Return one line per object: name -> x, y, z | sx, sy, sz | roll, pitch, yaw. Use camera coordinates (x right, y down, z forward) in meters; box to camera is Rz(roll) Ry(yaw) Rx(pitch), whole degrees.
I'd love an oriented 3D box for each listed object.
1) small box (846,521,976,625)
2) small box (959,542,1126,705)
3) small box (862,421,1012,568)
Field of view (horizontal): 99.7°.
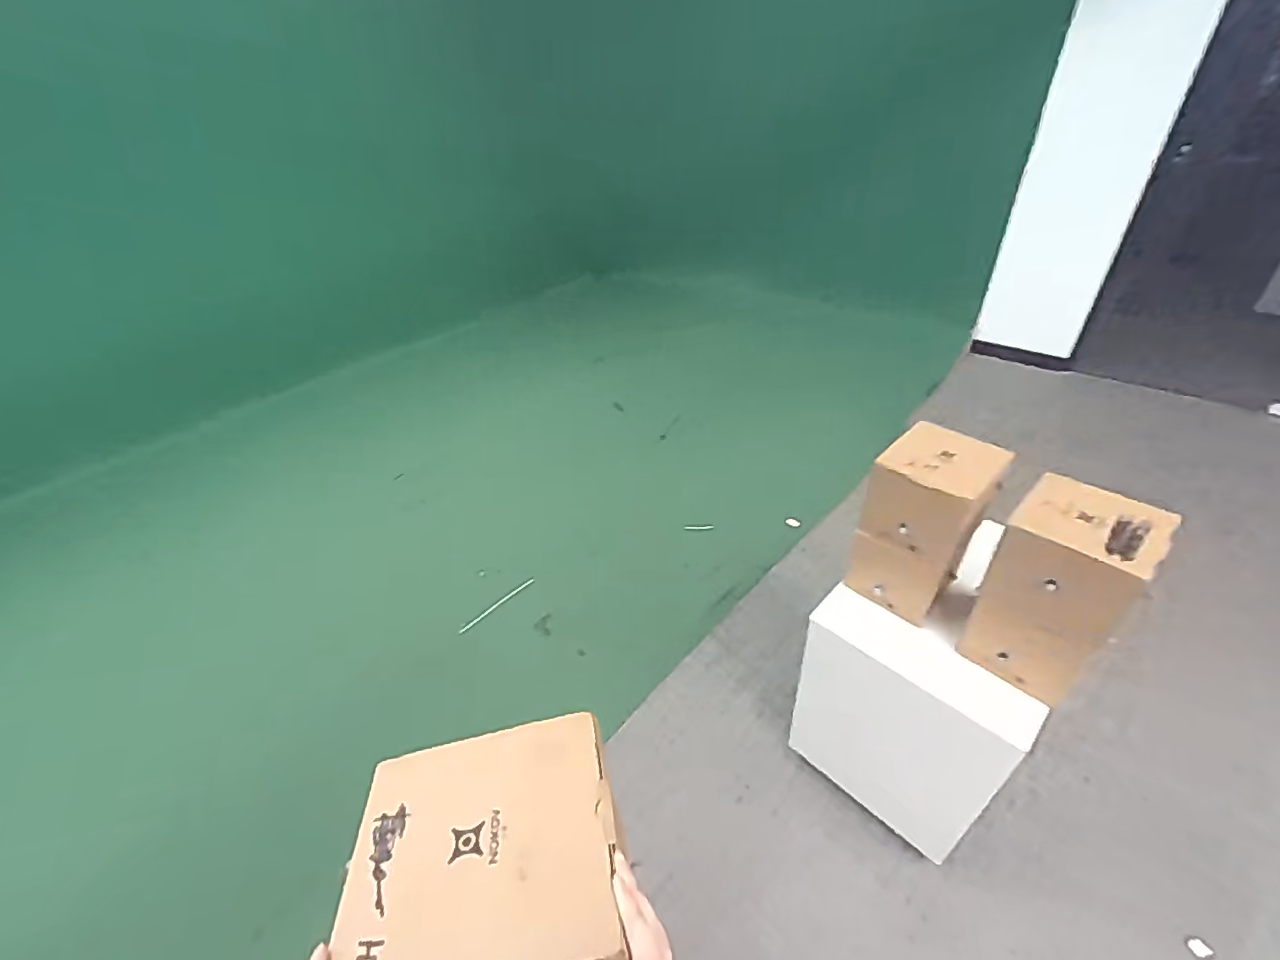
small box -> 0.537, 0.151, 1.089 | 0.179, 0.176, 0.168 | -35, 47, -30
small box -> 0.693, 0.248, 0.948 | 0.179, 0.176, 0.168 | -33, 45, -29
small box -> 0.529, 0.023, 0.985 | 0.179, 0.176, 0.168 | -33, 46, -29
